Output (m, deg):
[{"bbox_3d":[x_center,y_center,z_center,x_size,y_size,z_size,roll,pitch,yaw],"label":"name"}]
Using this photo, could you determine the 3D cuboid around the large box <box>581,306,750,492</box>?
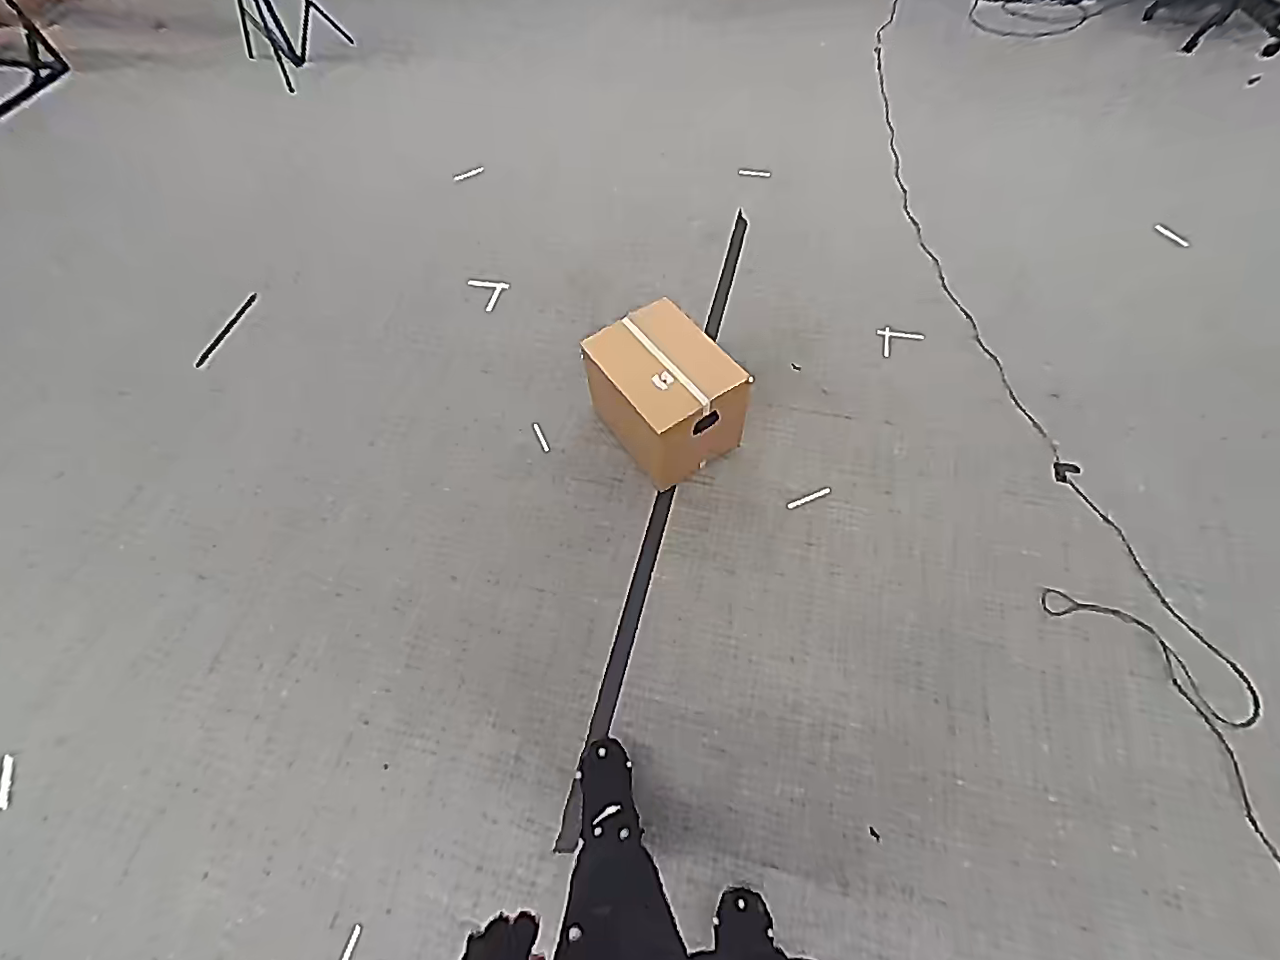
[{"bbox_3d":[0.069,-0.244,1.645,0.320,0.320,0.408,-32,63,-14],"label":"large box"}]
